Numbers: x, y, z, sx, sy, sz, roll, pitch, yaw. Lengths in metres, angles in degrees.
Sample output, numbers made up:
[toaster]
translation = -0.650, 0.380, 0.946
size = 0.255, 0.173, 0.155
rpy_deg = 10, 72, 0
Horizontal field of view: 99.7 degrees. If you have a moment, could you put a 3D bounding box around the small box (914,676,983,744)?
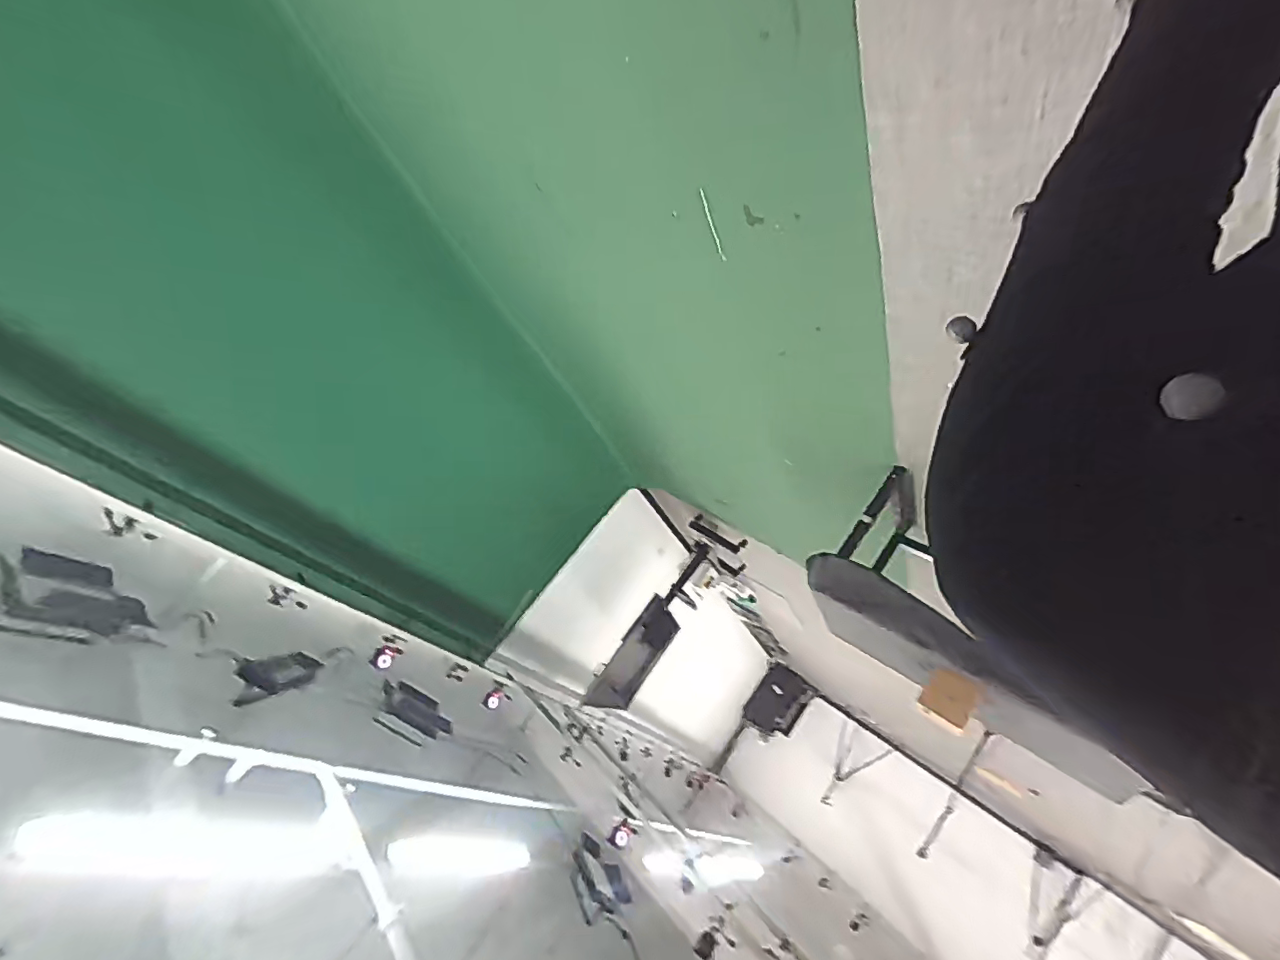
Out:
[small box]
translation = 1.190, 0.880, 2.091
size = 0.179, 0.176, 0.168
rpy_deg = 28, 163, 38
